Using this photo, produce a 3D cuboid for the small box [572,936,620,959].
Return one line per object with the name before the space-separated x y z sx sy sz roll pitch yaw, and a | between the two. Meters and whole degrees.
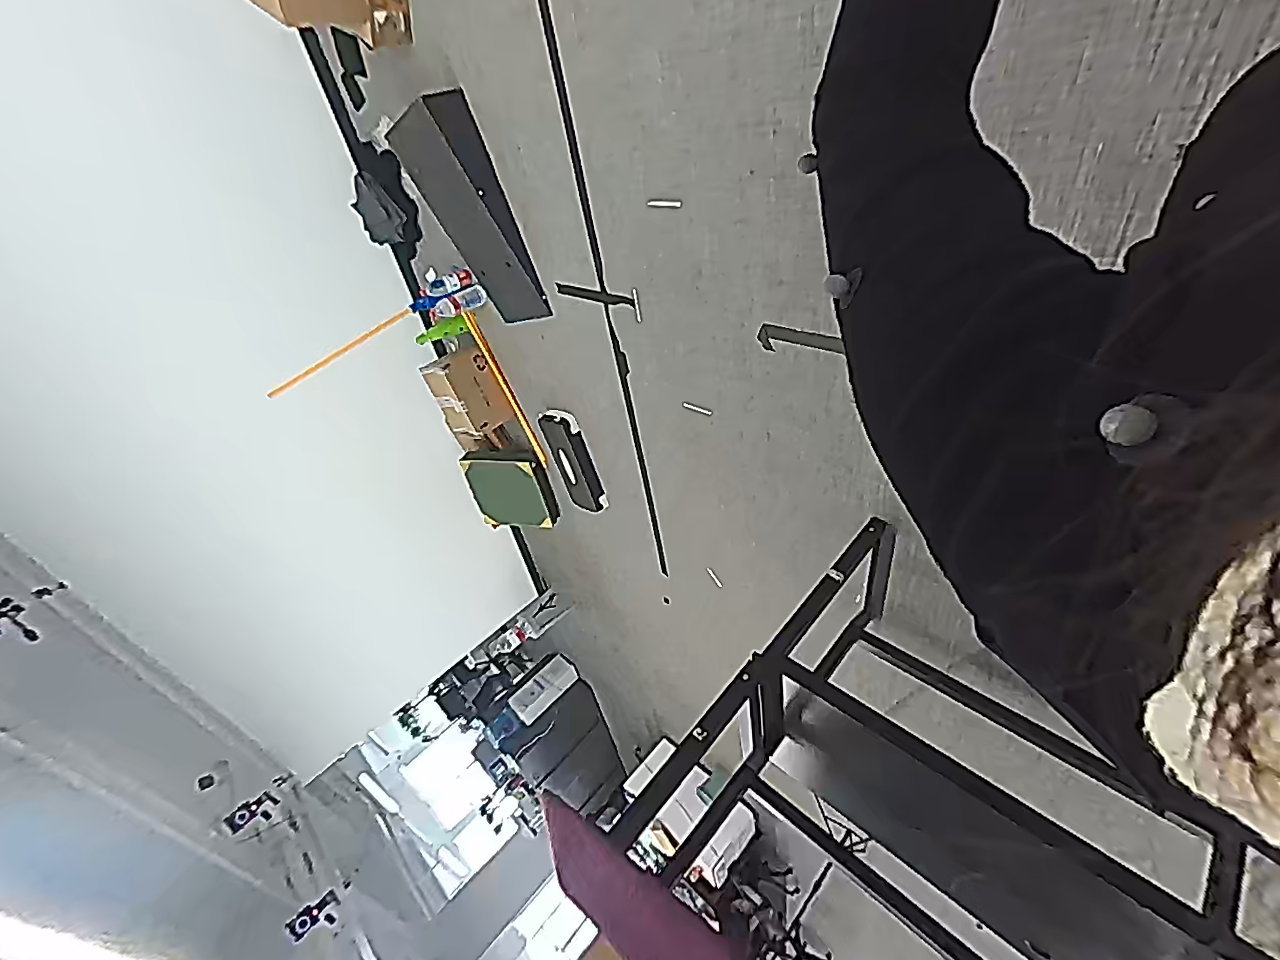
small box | -0.086 1.128 1.157 0.179 0.176 0.168 28 143 37
